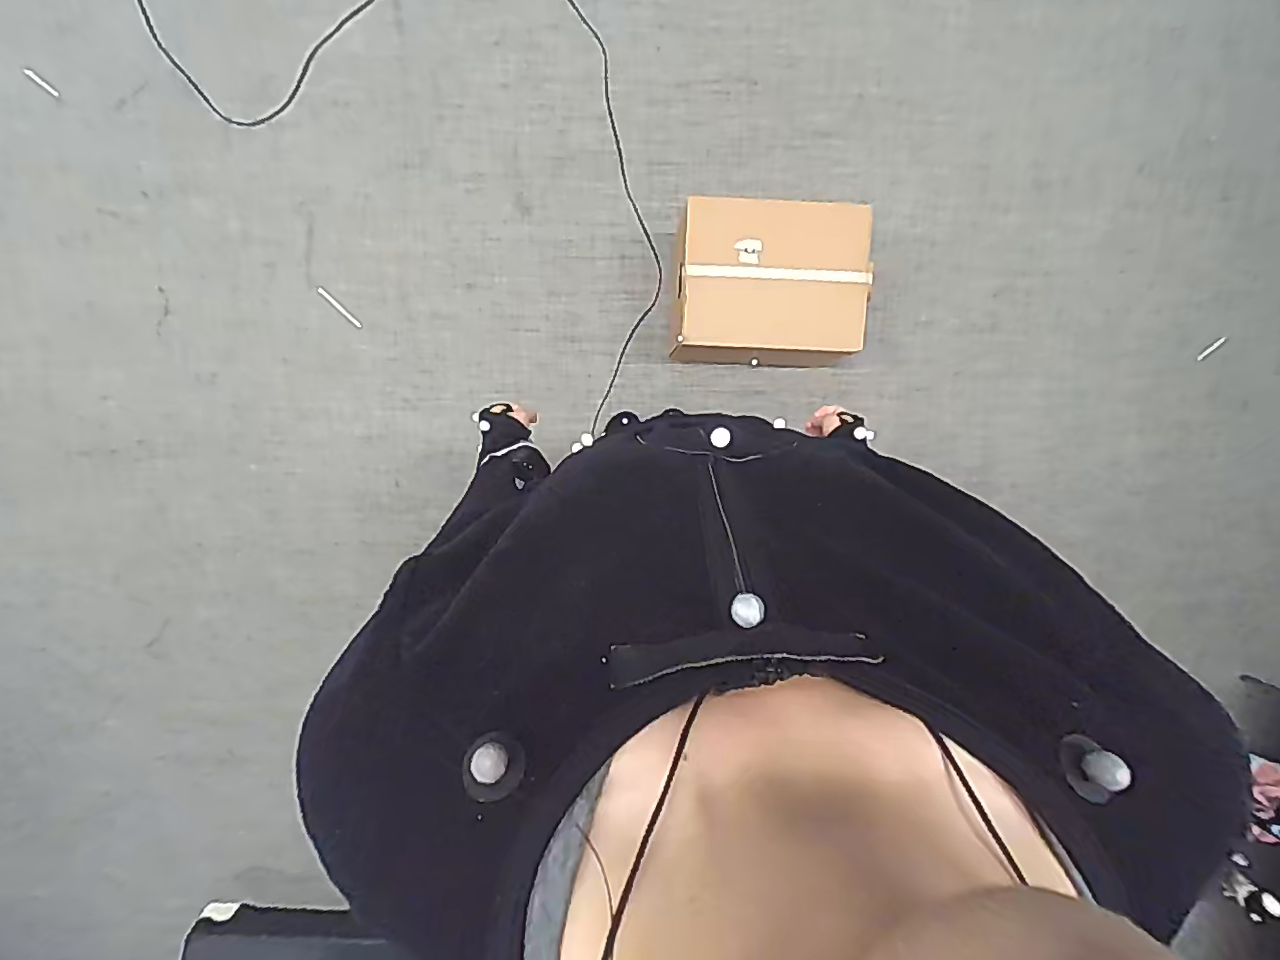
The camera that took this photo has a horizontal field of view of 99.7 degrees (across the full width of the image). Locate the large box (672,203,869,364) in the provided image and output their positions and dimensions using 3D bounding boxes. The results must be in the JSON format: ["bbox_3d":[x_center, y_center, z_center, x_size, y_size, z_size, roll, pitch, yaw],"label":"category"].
[{"bbox_3d":[0.294,-0.456,1.324,0.408,0.320,0.320,2,95,-1],"label":"large box"}]
